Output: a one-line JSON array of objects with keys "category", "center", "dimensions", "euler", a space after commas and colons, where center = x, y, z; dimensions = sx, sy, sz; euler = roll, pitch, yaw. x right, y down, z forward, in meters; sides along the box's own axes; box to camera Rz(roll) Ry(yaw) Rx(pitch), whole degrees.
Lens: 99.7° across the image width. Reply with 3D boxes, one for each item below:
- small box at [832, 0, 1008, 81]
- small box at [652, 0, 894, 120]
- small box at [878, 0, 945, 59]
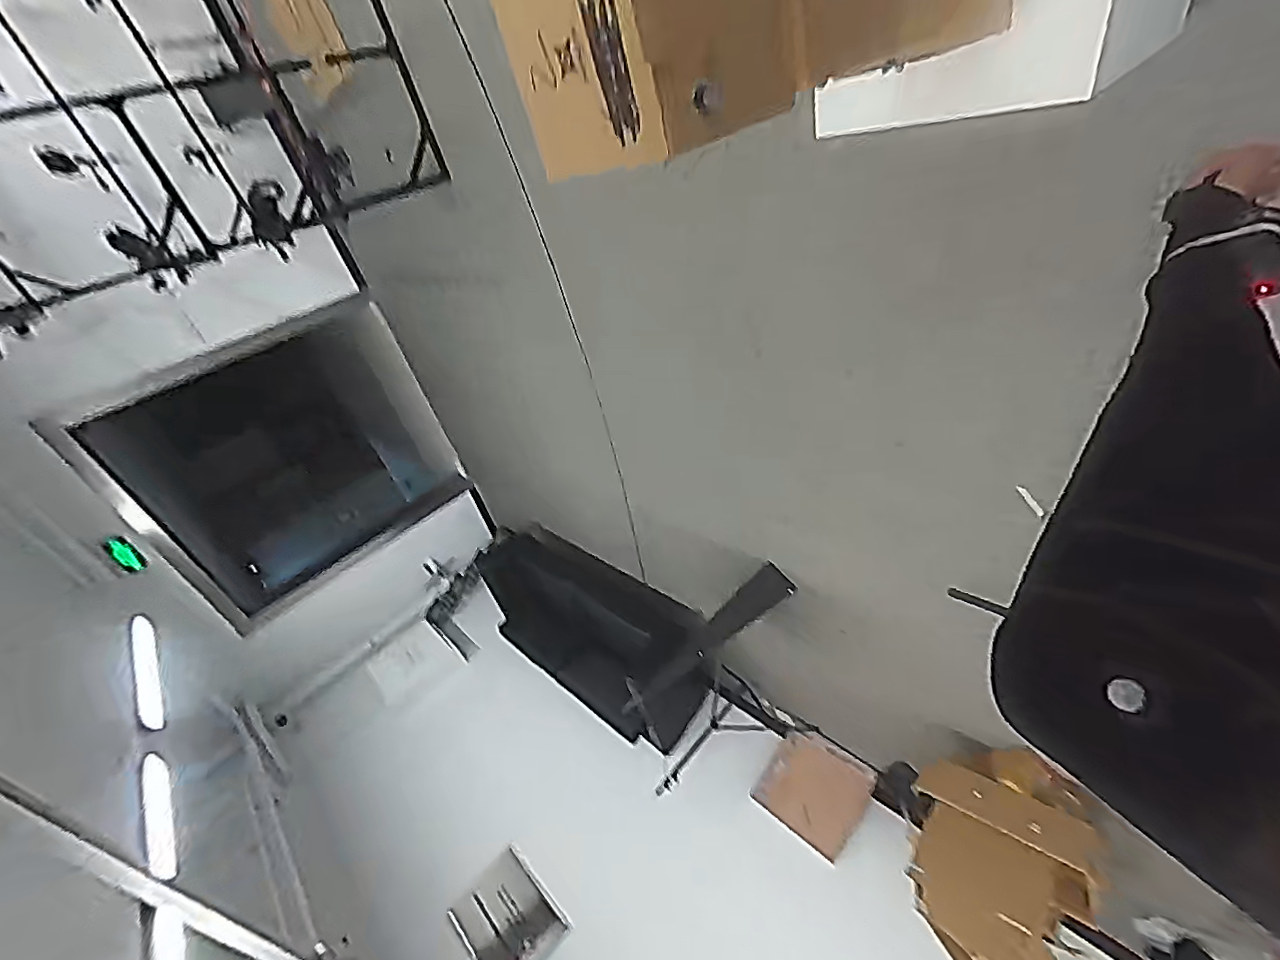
[{"category": "small box", "center": [0.355, -0.644, 0.685], "dimensions": [0.168, 0.176, 0.179], "euler": [20, 137, 44]}, {"category": "small box", "center": [0.128, -0.478, 0.518], "dimensions": [0.168, 0.176, 0.179], "euler": [21, 139, 43]}, {"category": "small box", "center": [0.230, -0.570, 0.610], "dimensions": [0.179, 0.176, 0.168], "euler": [22, 140, 43]}]
